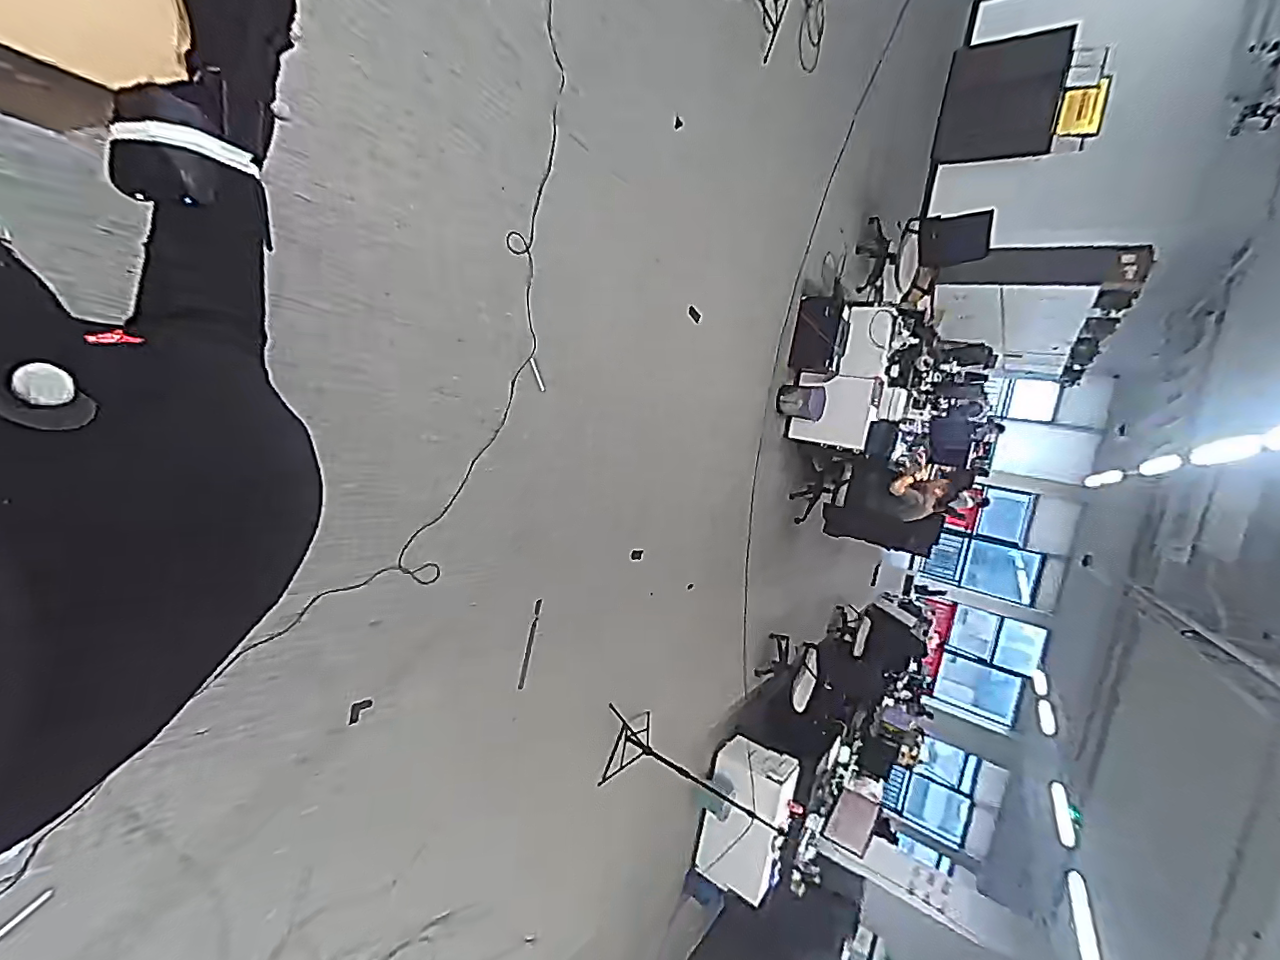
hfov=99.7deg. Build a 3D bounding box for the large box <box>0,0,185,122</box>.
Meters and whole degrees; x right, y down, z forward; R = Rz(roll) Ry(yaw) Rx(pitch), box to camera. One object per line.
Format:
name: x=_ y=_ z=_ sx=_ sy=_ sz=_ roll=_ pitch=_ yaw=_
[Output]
large box: x=-0.528 y=-0.439 z=0.266 sx=0.408 sy=0.320 sz=0.320 roll=-6 pitch=114 yaw=-58
